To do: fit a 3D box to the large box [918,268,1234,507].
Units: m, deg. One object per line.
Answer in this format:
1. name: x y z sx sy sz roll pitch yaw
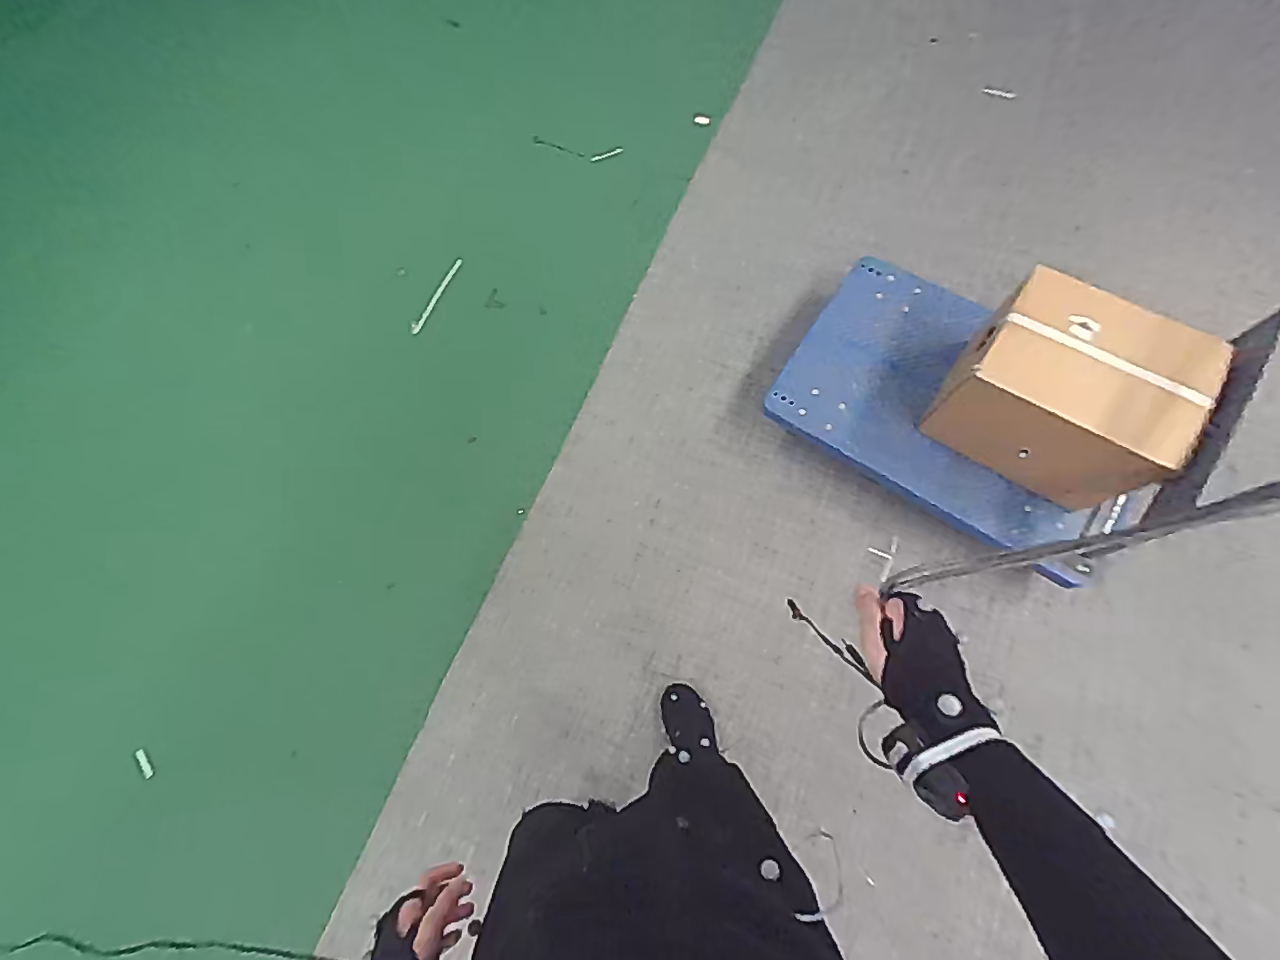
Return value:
1. large box: 0.935 -0.191 1.220 0.408 0.320 0.320 32 78 15
